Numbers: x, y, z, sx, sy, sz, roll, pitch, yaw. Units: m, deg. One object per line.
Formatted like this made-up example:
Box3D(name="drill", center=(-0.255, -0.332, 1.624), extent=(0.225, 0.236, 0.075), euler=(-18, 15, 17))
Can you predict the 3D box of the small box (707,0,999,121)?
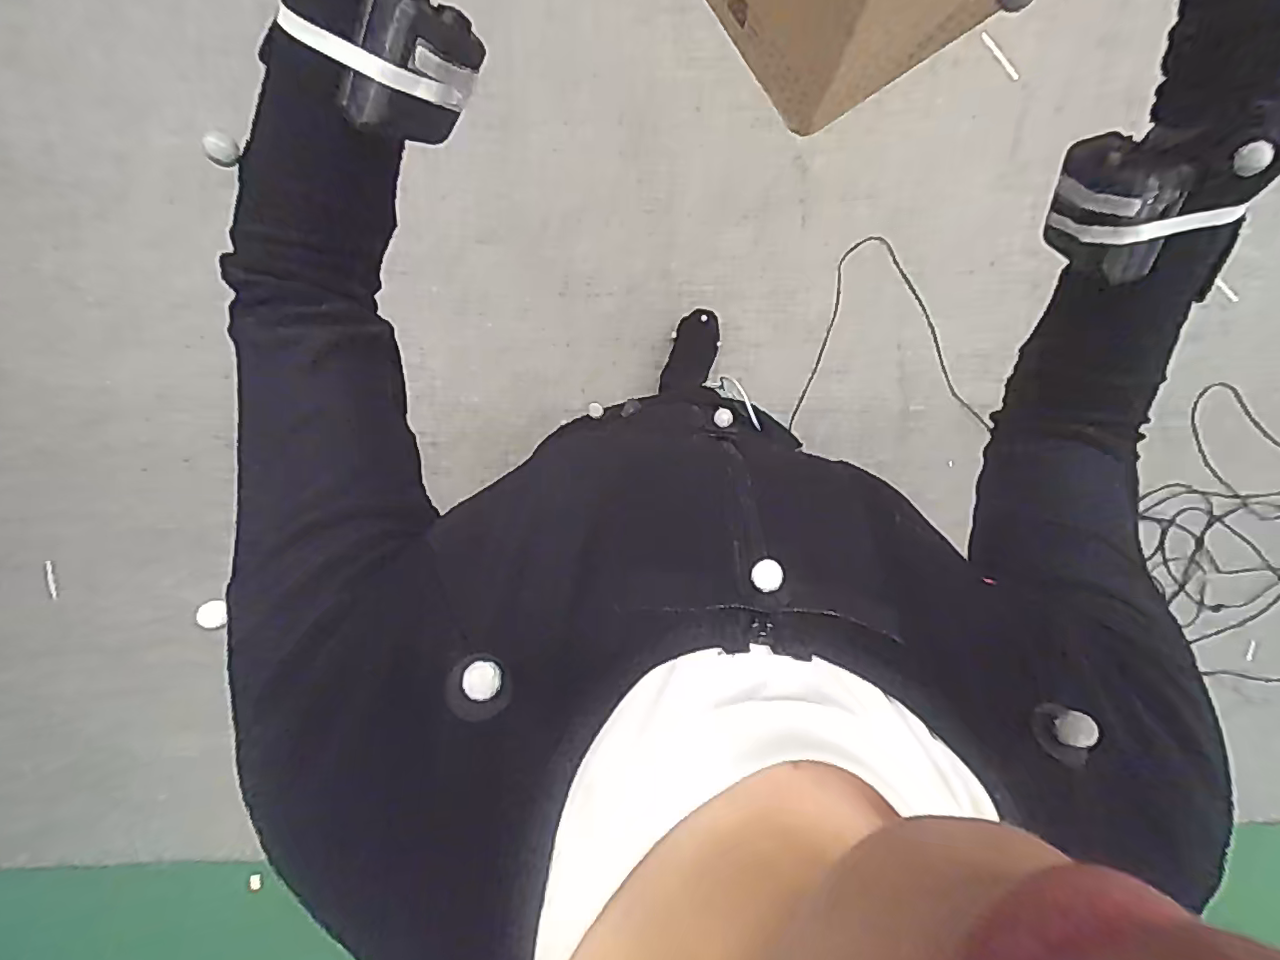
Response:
Box3D(name="small box", center=(0.105, -0.286, 0.188), extent=(0.179, 0.176, 0.168), euler=(-34, 90, 2))
